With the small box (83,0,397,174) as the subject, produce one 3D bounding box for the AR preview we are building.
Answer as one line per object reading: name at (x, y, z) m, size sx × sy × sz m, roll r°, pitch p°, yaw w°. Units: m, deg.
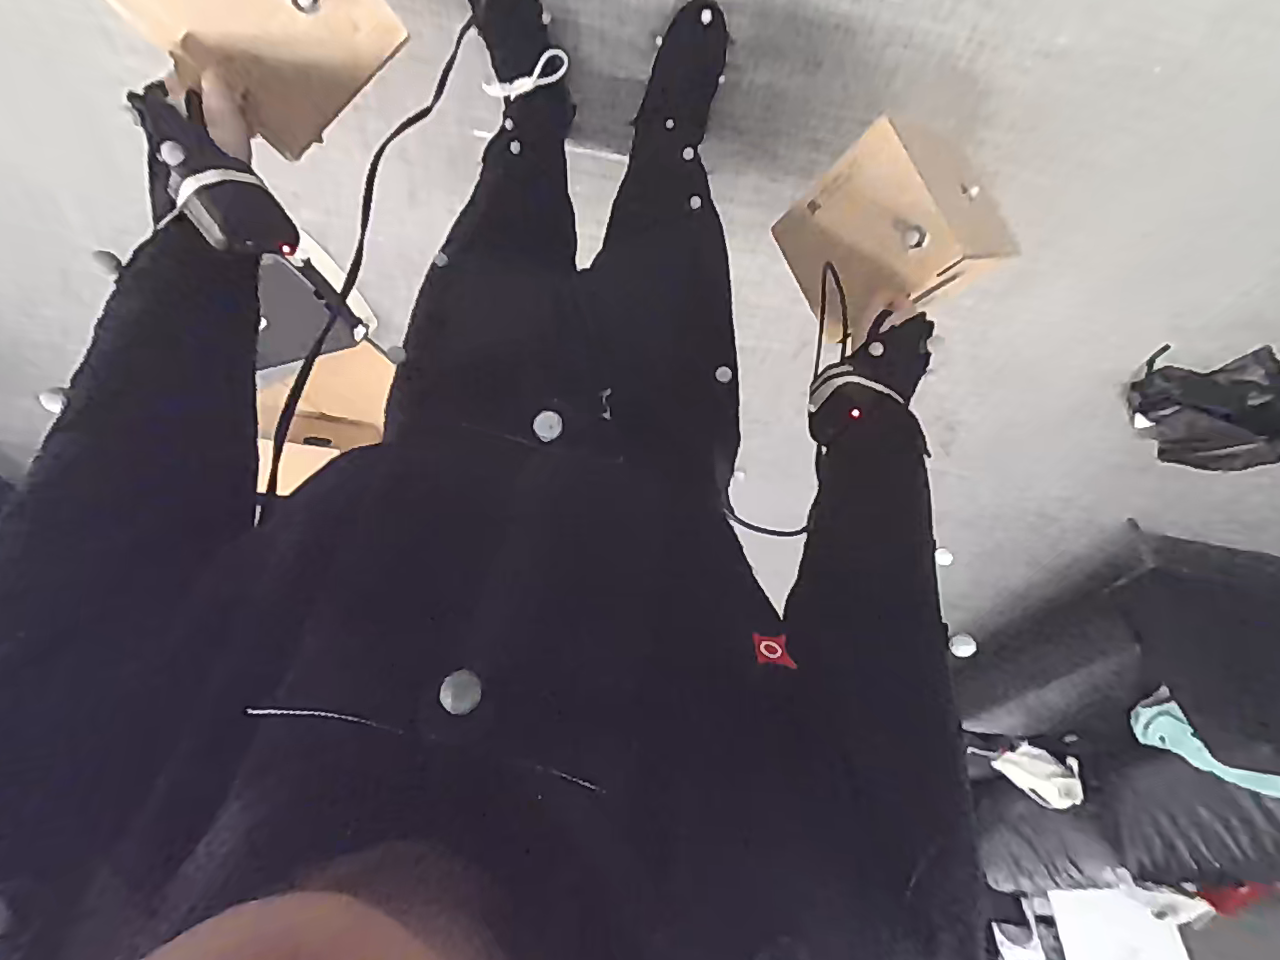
small box at (-0.355, -0.428, 0.491) m, size 0.176 × 0.179 × 0.168 m, roll -45°, pitch 144°, yaw 5°
